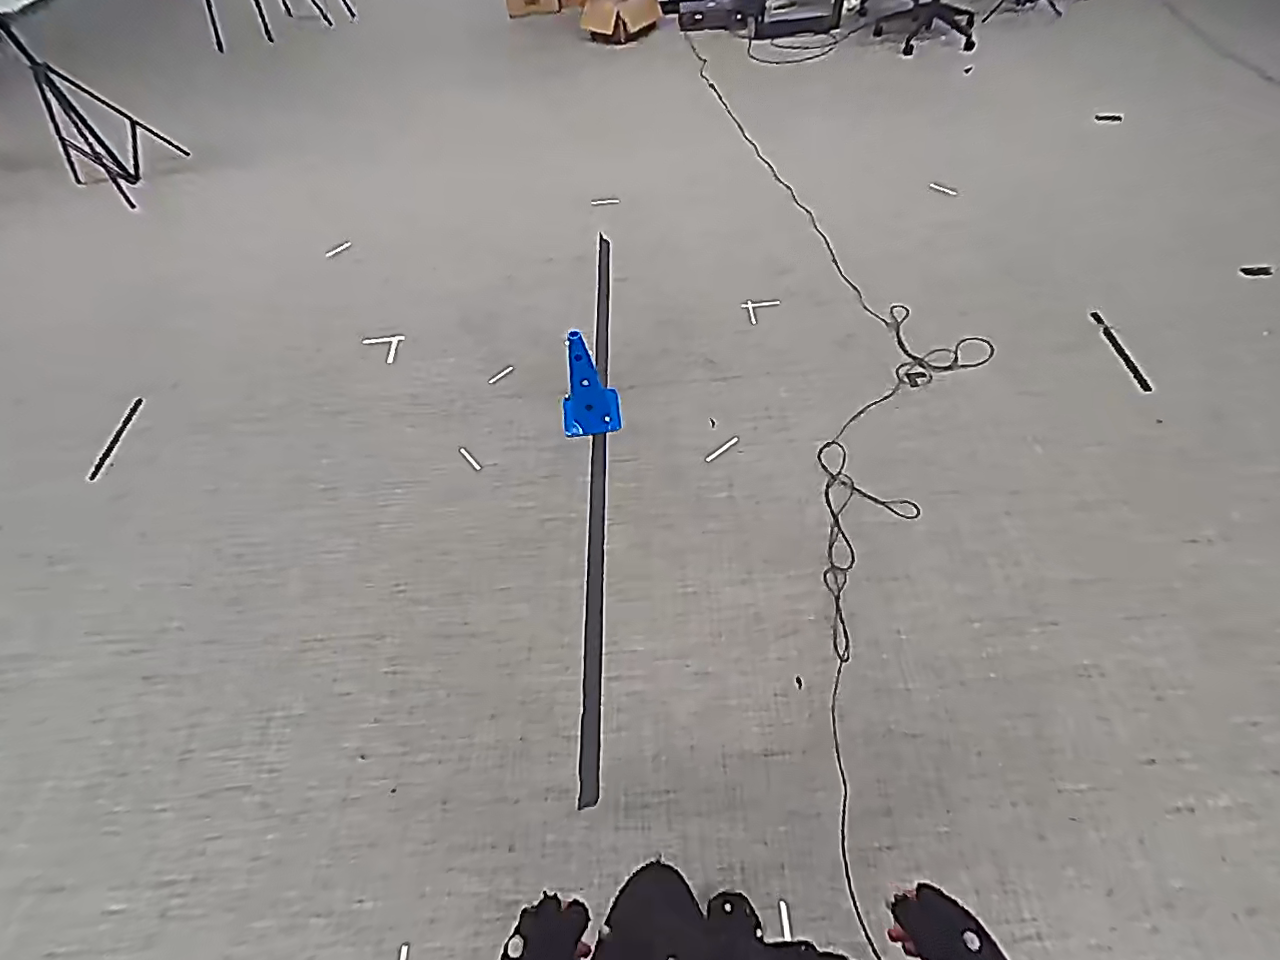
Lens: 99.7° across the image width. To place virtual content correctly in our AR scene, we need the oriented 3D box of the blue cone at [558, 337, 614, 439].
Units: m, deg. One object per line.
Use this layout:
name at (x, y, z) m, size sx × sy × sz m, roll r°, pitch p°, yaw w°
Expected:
blue cone at (-0.207, -0.321, 1.799) m, size 0.192 × 0.380 × 0.193 m, roll -7°, pitch 55°, yaw 1°
